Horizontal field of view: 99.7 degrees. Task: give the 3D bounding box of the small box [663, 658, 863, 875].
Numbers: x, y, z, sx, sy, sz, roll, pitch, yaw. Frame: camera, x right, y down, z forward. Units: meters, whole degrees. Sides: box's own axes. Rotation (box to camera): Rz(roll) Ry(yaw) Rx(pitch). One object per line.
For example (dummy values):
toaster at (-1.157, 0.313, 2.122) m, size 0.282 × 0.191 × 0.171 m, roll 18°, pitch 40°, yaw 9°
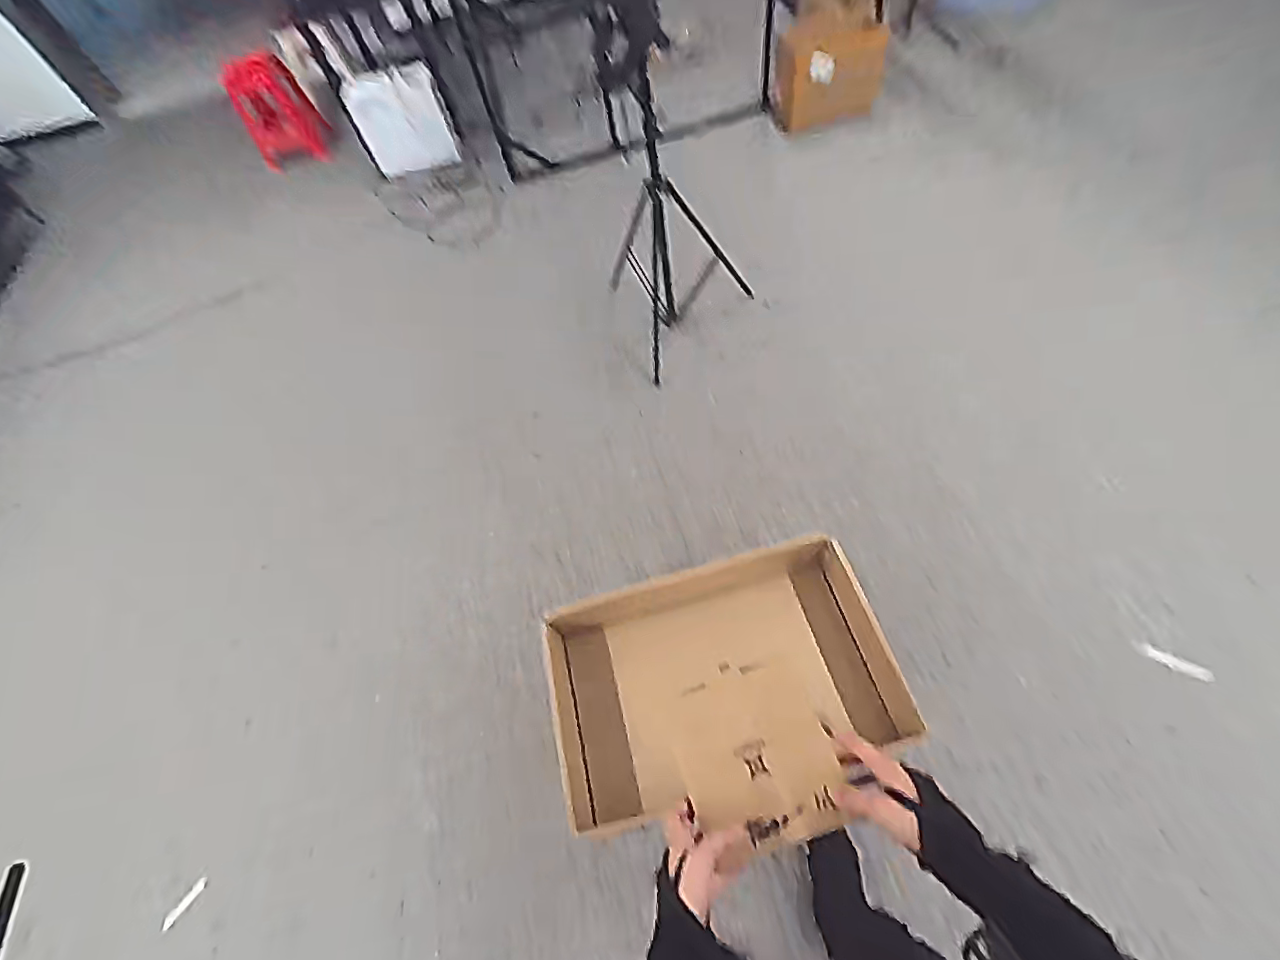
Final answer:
small box at (0.141, 0.333, 0.657) m, size 0.168 × 0.176 × 0.179 m, roll -22°, pitch 66°, yaw 4°
